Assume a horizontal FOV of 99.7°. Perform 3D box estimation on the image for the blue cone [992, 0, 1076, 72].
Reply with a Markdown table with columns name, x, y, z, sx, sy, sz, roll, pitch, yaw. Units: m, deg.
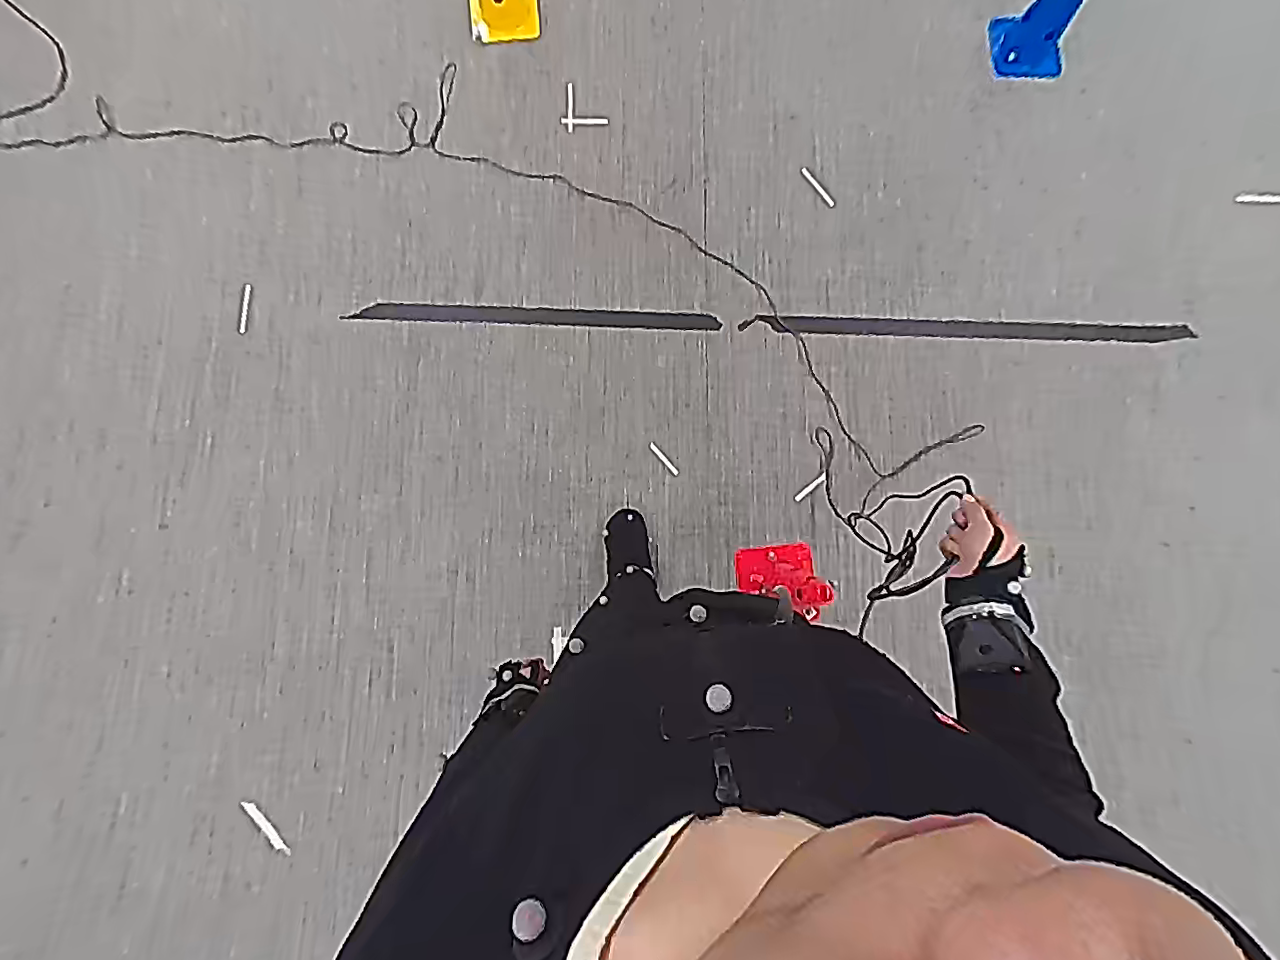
| name | x | y | z | sx | sy | sz | roll | pitch | yaw |
| --- | --- | --- | --- | --- | --- | --- | --- | --- | --- |
| blue cone | 1.135 | -1.307 | 1.424 | 0.193 | 0.380 | 0.192 | 2 | 81 | 0 |

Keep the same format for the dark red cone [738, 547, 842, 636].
| name | x | y | z | sx | sy | sz | roll | pitch | yaw |
| --- | --- | --- | --- | --- | --- | --- | --- | --- | --- |
| dark red cone | 0.349 | 0.247 | 1.164 | 0.202 | 0.394 | 0.201 | -6 | 81 | -1 |
